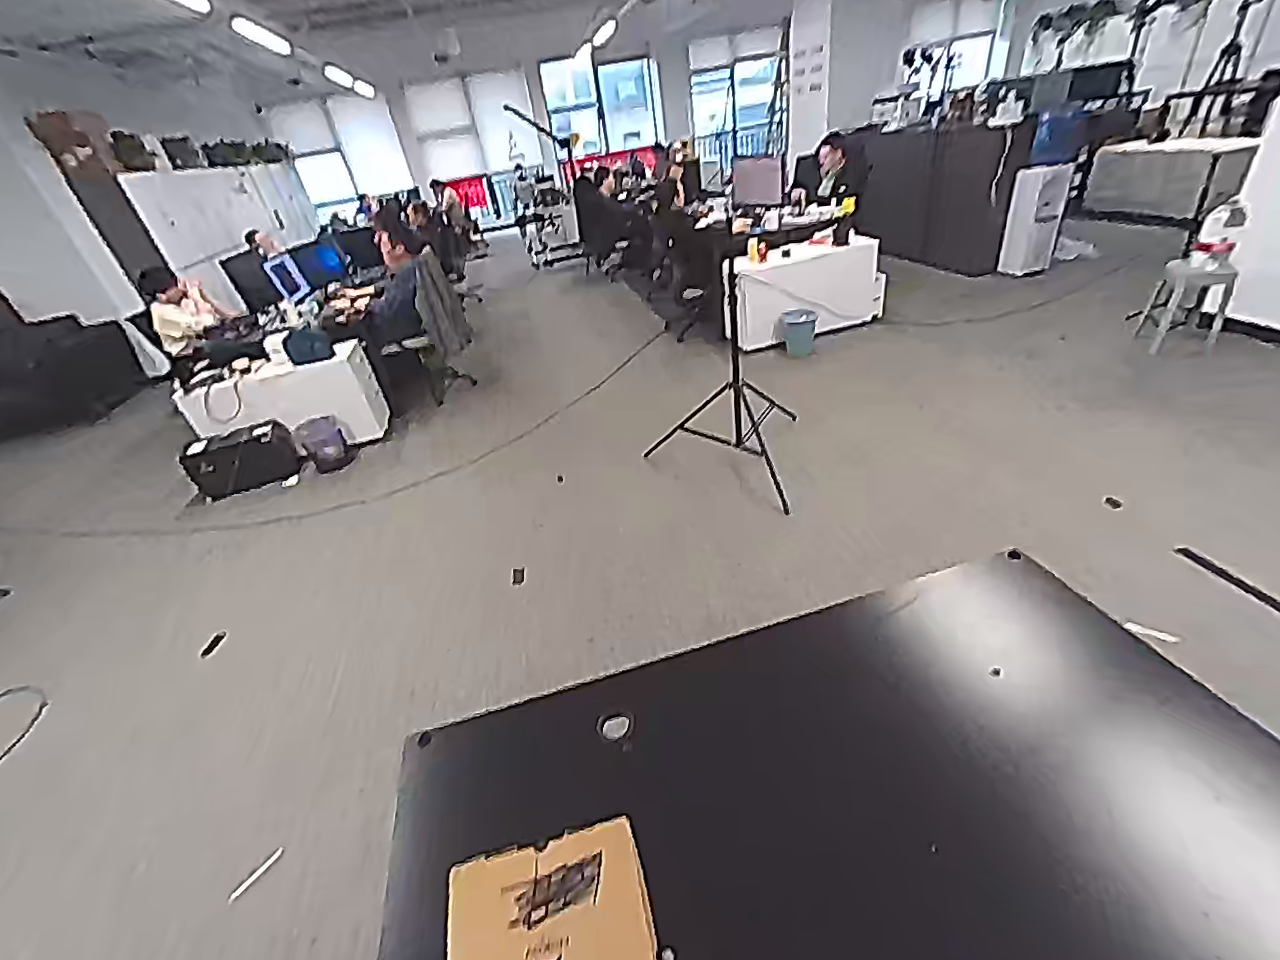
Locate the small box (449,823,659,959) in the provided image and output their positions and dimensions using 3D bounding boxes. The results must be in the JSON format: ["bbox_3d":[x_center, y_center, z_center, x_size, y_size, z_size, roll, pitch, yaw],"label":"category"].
[{"bbox_3d":[-0.067,0.454,0.486,0.168,0.176,0.179,-13,39,-7],"label":"small box"}]
